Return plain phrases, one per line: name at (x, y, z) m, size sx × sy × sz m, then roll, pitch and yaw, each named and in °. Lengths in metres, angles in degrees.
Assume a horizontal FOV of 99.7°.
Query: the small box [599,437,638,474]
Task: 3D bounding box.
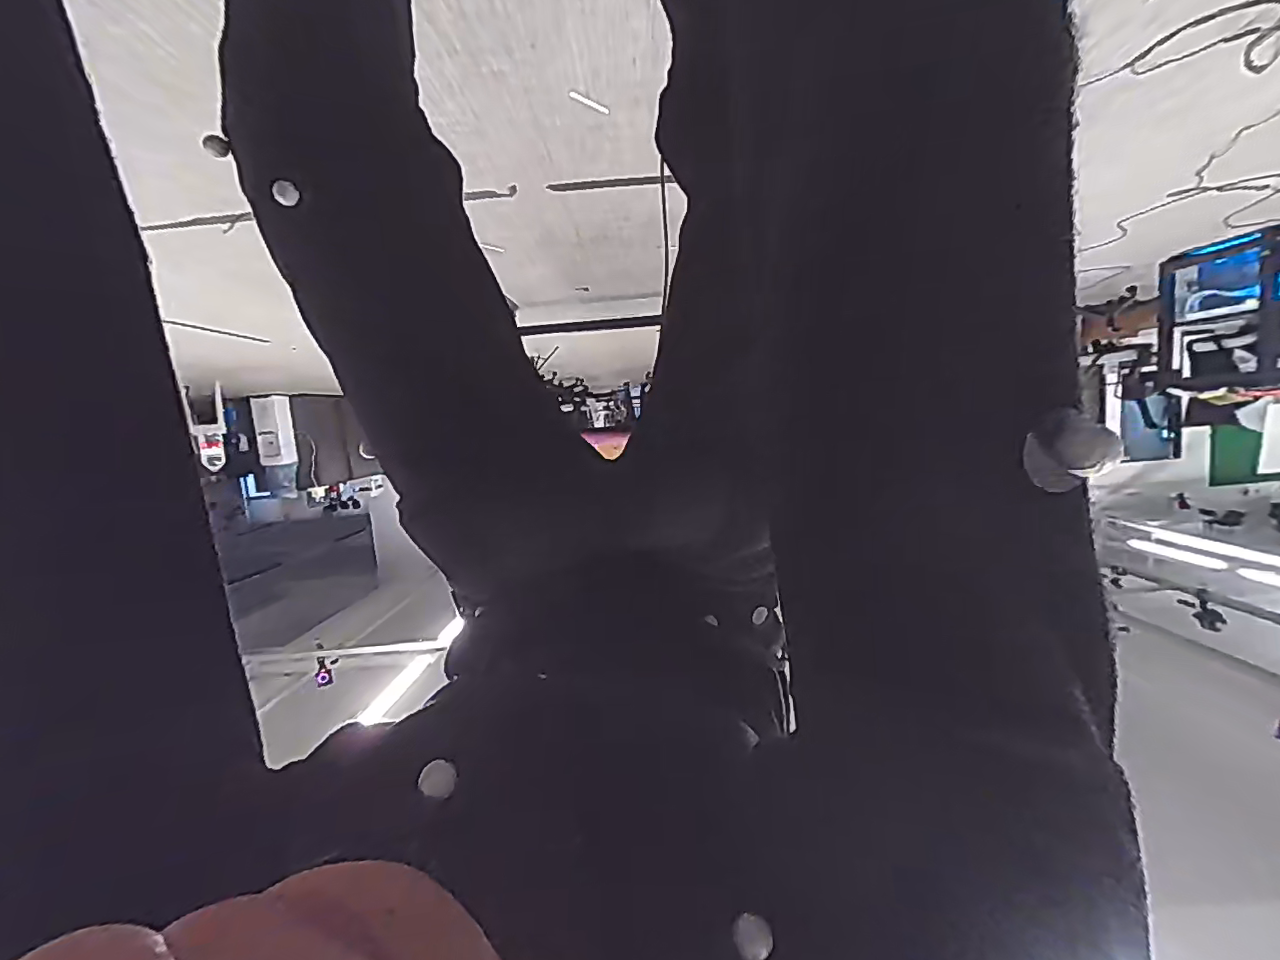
small box at (-0.105, -0.124, 2.663) m, size 0.179 × 0.176 × 0.168 m, roll -3°, pitch -172°, yaw 4°
